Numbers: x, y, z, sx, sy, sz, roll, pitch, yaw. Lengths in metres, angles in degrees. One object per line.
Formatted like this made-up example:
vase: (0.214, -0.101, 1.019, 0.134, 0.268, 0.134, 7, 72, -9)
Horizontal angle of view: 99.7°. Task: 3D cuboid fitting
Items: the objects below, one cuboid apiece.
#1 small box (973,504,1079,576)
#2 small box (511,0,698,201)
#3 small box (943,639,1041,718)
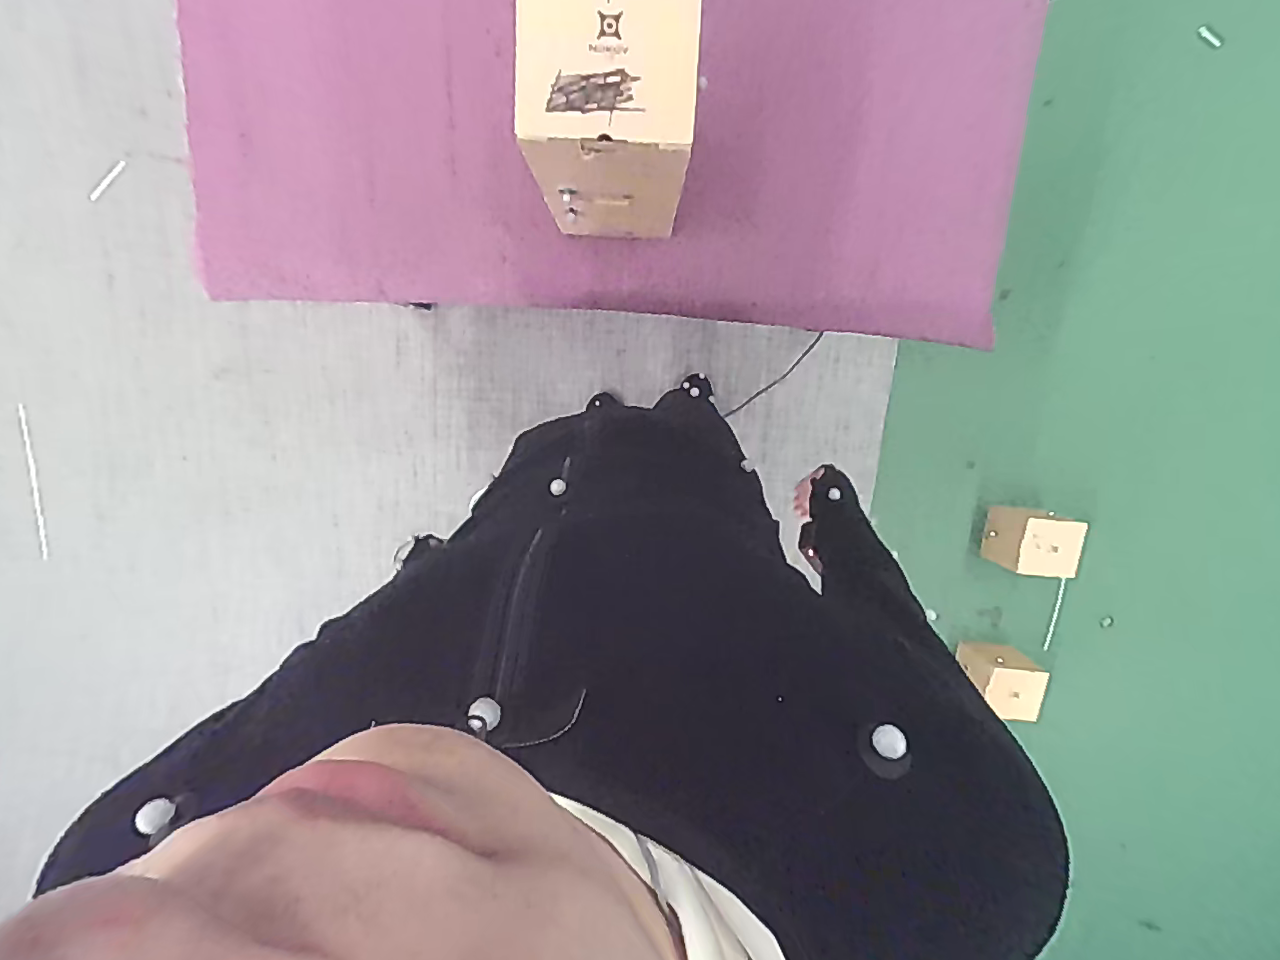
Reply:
small box: (1.142, 0.173, 1.611, 0.179, 0.176, 0.168, 5, 101, -3)
small box: (-0.033, -0.409, 0.560, 0.168, 0.176, 0.179, 3, 100, -2)
small box: (1.100, 0.619, 1.702, 0.179, 0.176, 0.168, 6, 102, -2)
